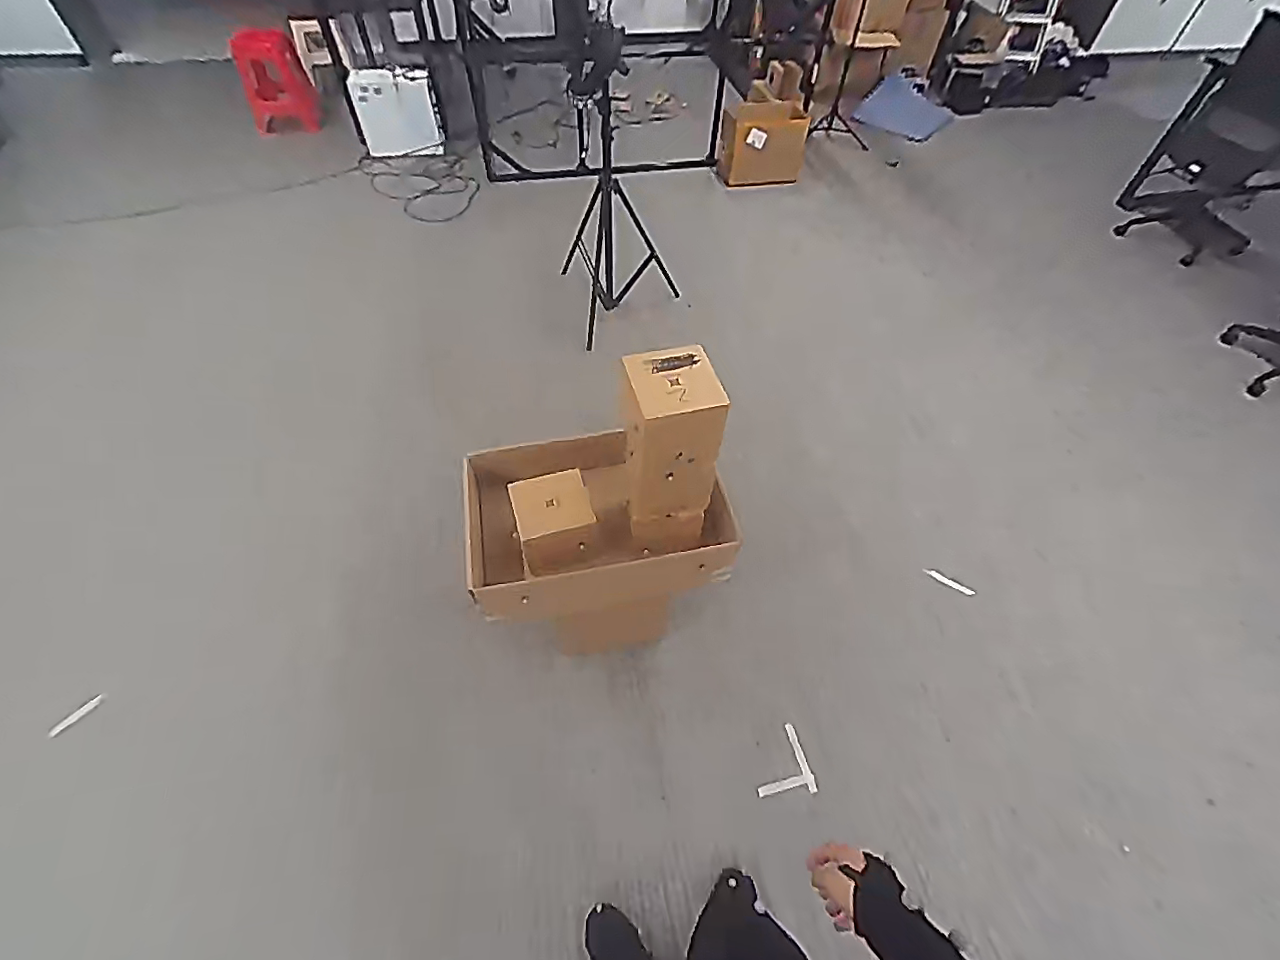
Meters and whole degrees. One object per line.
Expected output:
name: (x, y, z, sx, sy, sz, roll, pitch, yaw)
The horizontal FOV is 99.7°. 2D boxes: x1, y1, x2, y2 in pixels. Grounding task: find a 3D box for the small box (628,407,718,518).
small box: (0.065, -0.038, 1.211, 0.168, 0.176, 0.179, -7, 53, -6)
